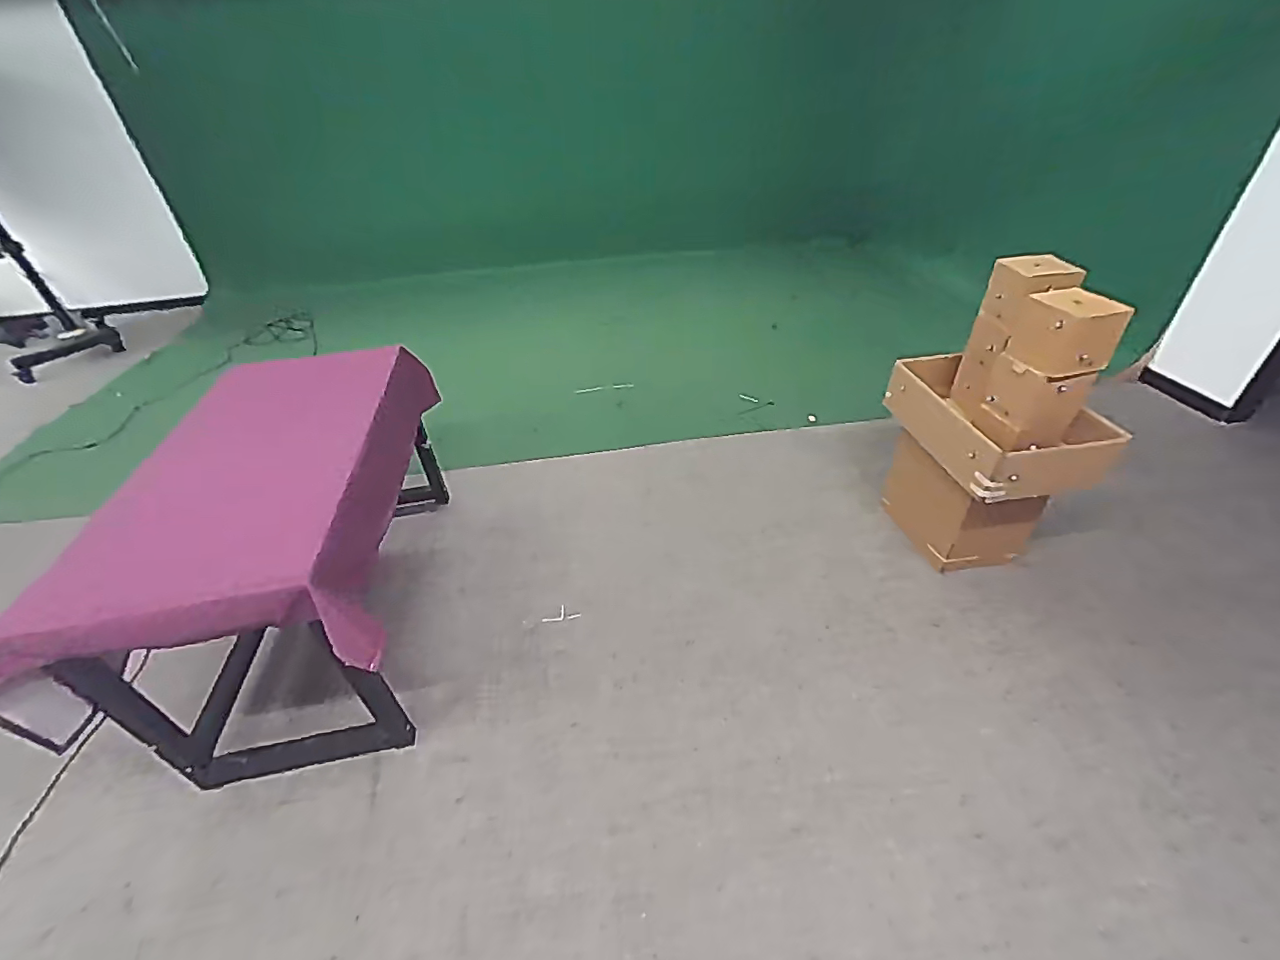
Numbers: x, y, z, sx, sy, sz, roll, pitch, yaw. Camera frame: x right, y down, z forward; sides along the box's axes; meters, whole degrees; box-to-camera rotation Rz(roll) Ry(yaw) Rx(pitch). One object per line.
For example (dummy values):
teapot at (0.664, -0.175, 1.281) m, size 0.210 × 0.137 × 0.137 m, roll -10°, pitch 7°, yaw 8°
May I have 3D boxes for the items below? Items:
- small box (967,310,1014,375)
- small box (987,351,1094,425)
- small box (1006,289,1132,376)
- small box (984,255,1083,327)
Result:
small box at (1.222, -0.459, 1.793) m, size 0.179 × 0.176 × 0.168 m, roll -5°, pitch 40°, yaw -2°
small box at (1.140, -0.271, 1.558) m, size 0.179 × 0.176 × 0.168 m, roll -9°, pitch 39°, yaw -6°
small box at (1.141, -0.399, 1.458) m, size 0.168 × 0.176 × 0.179 m, roll -10°, pitch 40°, yaw -9°
small box at (1.217, -0.591, 1.694) m, size 0.179 × 0.176 × 0.168 m, roll -4°, pitch 40°, yaw -1°
